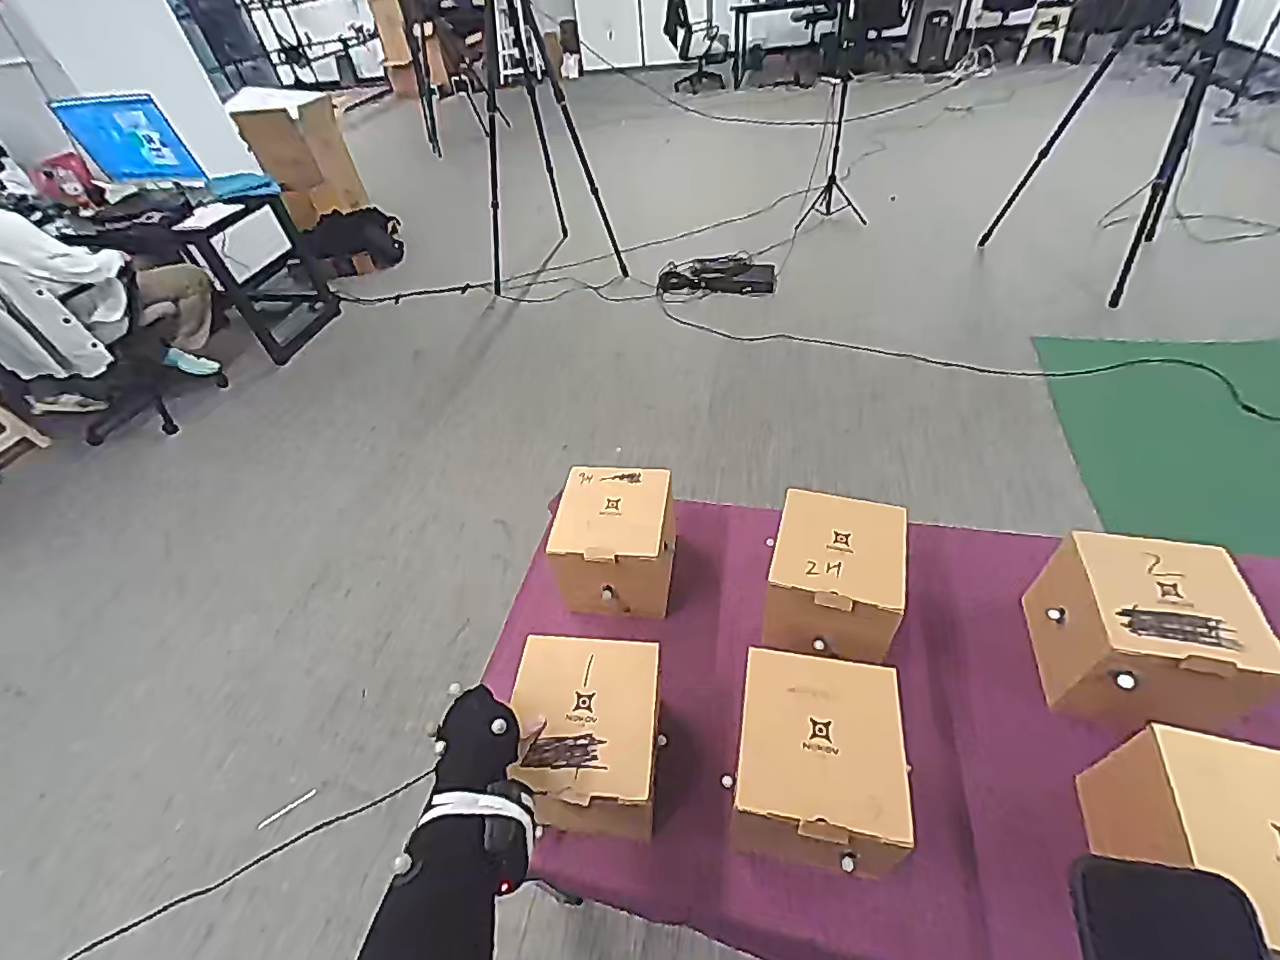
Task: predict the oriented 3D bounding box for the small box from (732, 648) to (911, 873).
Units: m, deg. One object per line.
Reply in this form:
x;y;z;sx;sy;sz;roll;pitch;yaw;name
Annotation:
0.198;0.324;0.624;0.168;0.176;0.179;5;46;13;small box

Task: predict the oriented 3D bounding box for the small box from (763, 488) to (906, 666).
0.277;0.141;0.786;0.168;0.176;0.179;10;49;18;small box

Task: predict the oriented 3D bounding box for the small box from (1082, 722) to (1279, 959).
0.570;0.370;0.520;0.168;0.176;0.179;8;48;17;small box

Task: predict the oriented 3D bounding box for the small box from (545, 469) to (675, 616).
-0.036;0.102;0.873;0.168;0.176;0.179;2;48;10;small box

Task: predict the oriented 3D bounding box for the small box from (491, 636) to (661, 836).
-0.063;0.315;0.663;0.168;0.176;0.179;2;45;5;small box
